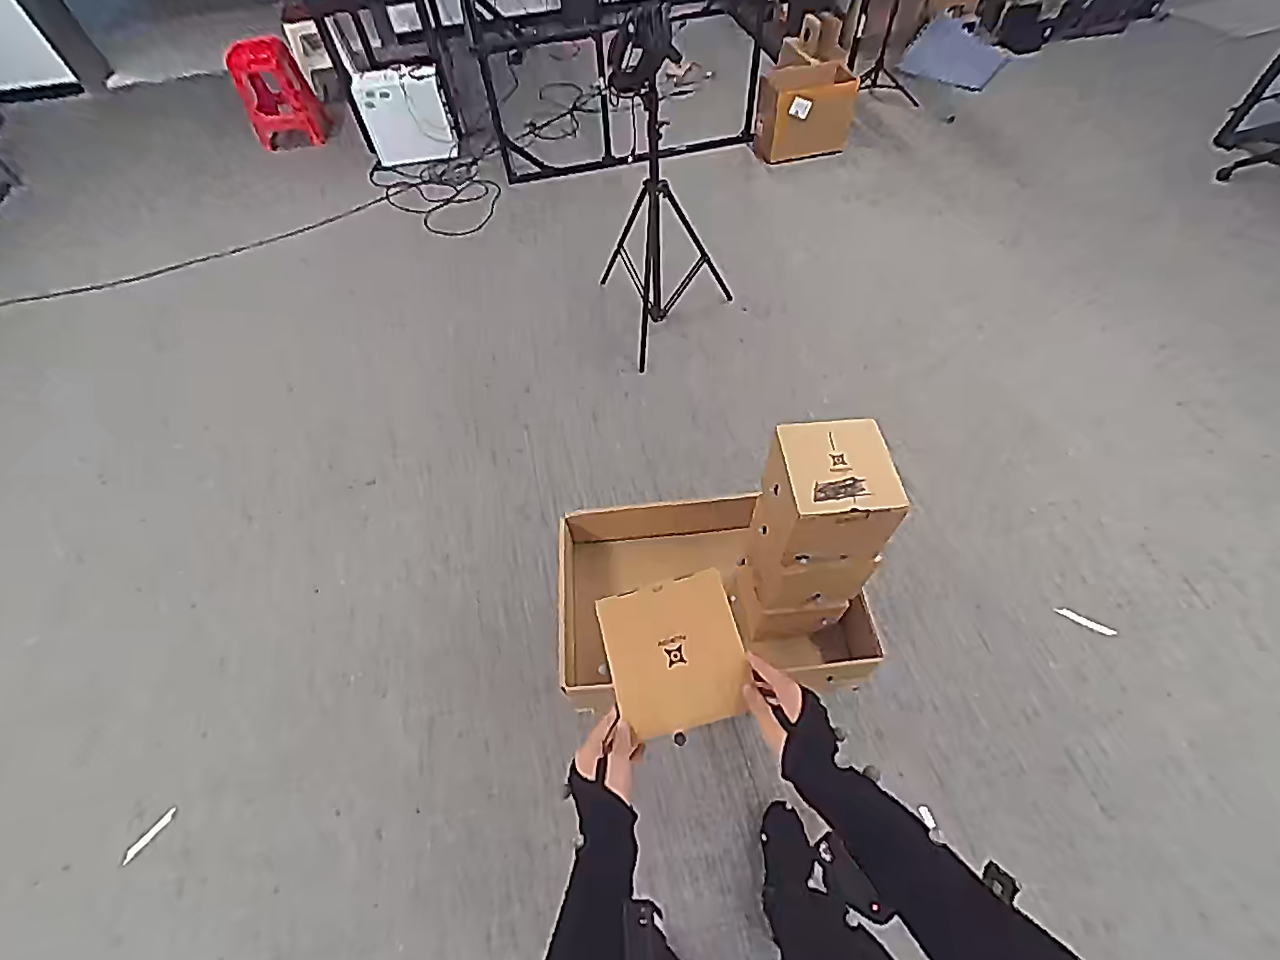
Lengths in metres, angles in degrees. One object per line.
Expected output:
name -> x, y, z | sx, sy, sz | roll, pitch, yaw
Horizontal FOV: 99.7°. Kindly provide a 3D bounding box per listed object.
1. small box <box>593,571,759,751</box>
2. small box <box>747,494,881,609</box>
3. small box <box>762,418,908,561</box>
small box -> 0.047, 0.243, 0.719 | 0.168, 0.176, 0.179 | -16, 64, -2
small box -> 0.314, 0.129, 1.015 | 0.179, 0.176, 0.168 | -7, 55, -3
small box -> 0.305, 0.023, 0.887 | 0.168, 0.176, 0.179 | -4, 55, 0
